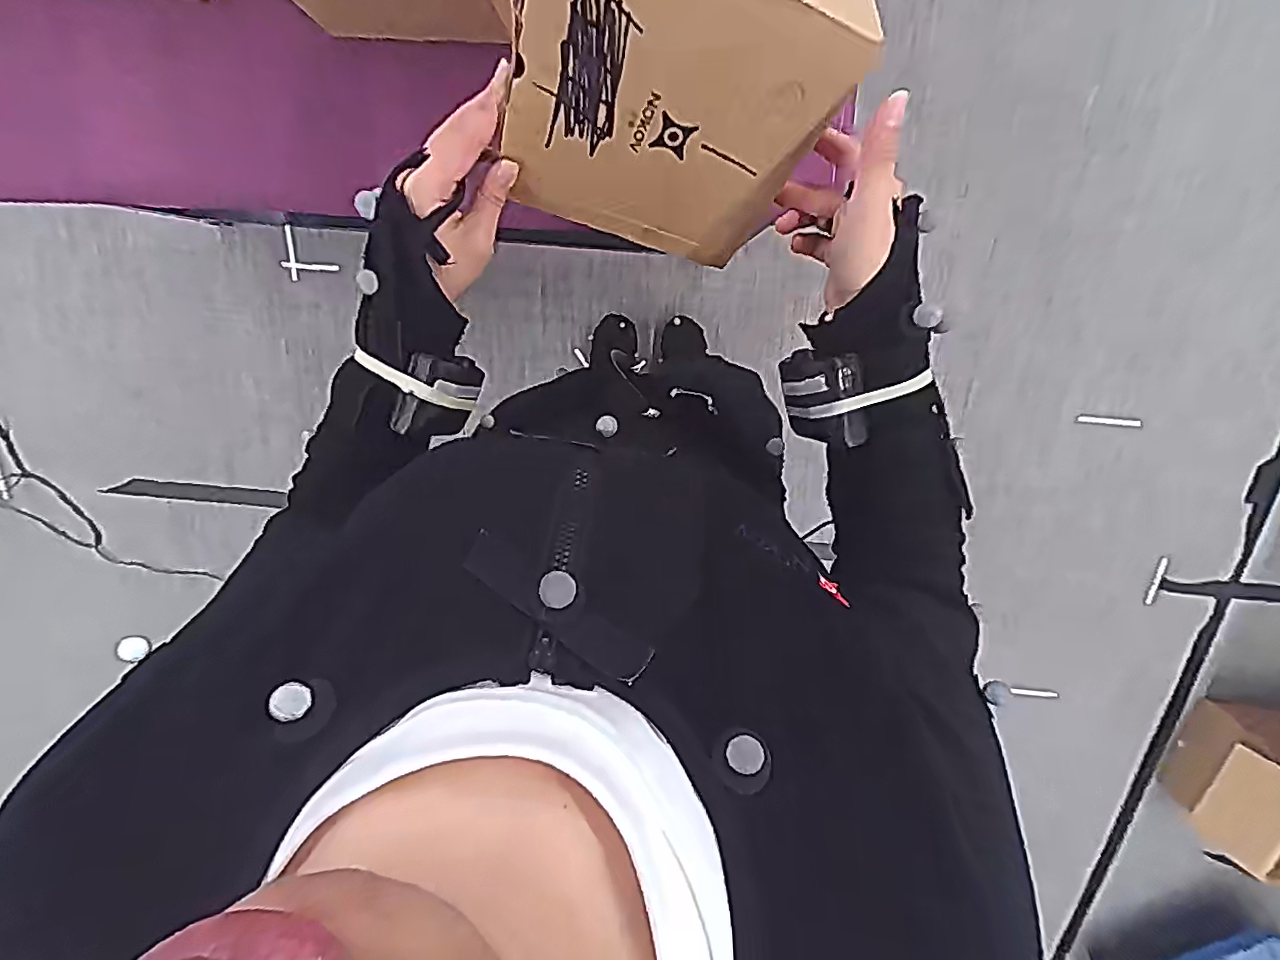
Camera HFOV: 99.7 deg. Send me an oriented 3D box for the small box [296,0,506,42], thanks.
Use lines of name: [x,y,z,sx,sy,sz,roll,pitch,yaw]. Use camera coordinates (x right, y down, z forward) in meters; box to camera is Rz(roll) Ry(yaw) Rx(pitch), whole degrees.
small box: [-0.202,-0.467,0.406,0.179,0.176,0.168,3,106,1]

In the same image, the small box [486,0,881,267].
small box: [0.014,-0.276,0.337,0.179,0.168,0.176,10,68,-20]
